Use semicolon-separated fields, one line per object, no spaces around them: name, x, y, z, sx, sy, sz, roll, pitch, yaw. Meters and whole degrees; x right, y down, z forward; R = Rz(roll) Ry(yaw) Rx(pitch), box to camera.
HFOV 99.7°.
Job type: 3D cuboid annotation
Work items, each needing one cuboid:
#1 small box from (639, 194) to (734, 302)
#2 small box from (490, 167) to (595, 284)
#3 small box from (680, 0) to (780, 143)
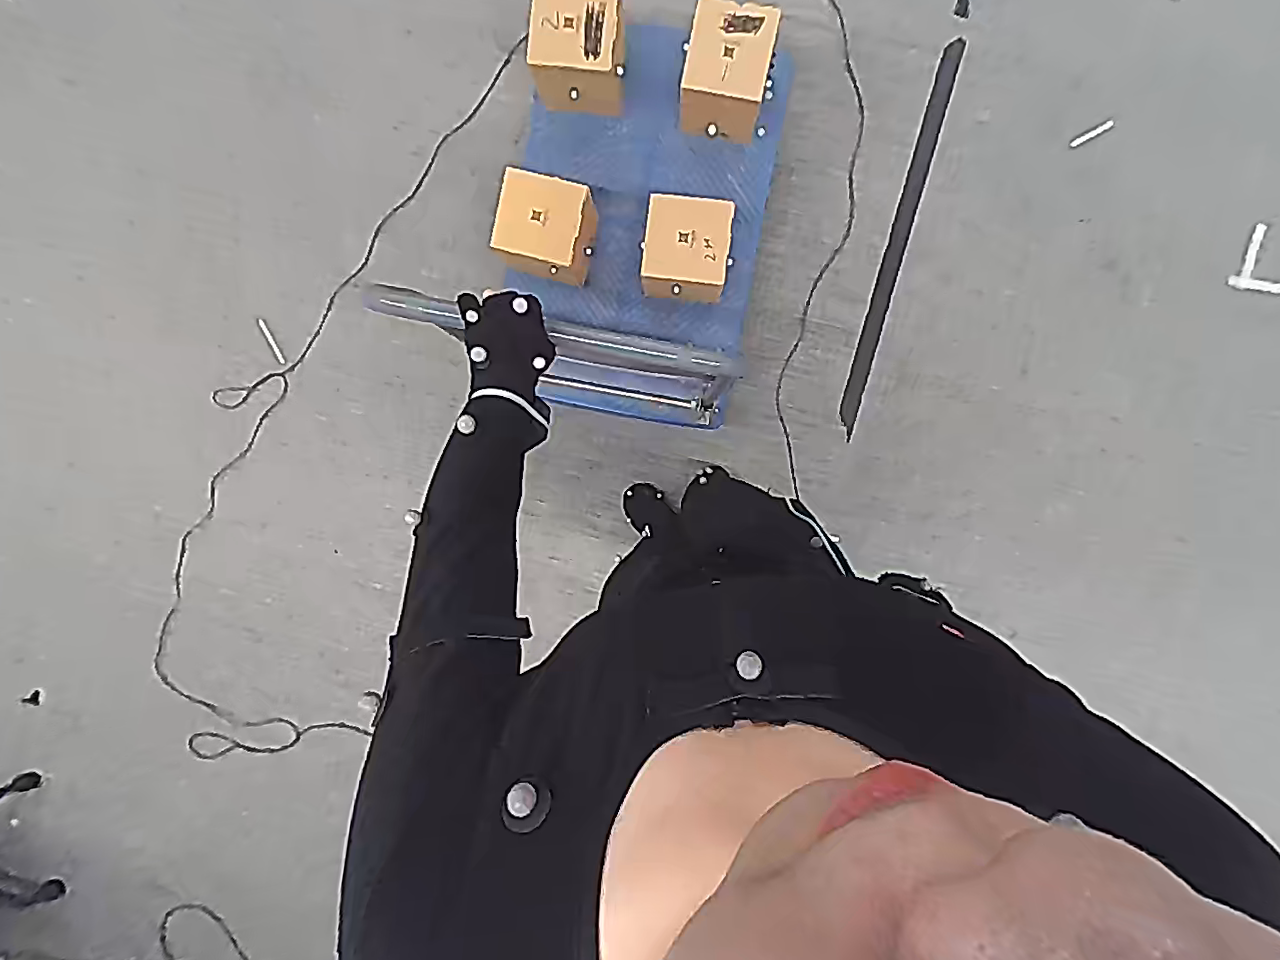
small box;0.099;-0.497;1.178;0.179;0.176;0.168;8;96;2
small box;-0.206;-0.549;1.190;0.179;0.176;0.168;14;95;0
small box;0.180;-0.855;1.140;0.168;0.176;0.179;12;97;2
